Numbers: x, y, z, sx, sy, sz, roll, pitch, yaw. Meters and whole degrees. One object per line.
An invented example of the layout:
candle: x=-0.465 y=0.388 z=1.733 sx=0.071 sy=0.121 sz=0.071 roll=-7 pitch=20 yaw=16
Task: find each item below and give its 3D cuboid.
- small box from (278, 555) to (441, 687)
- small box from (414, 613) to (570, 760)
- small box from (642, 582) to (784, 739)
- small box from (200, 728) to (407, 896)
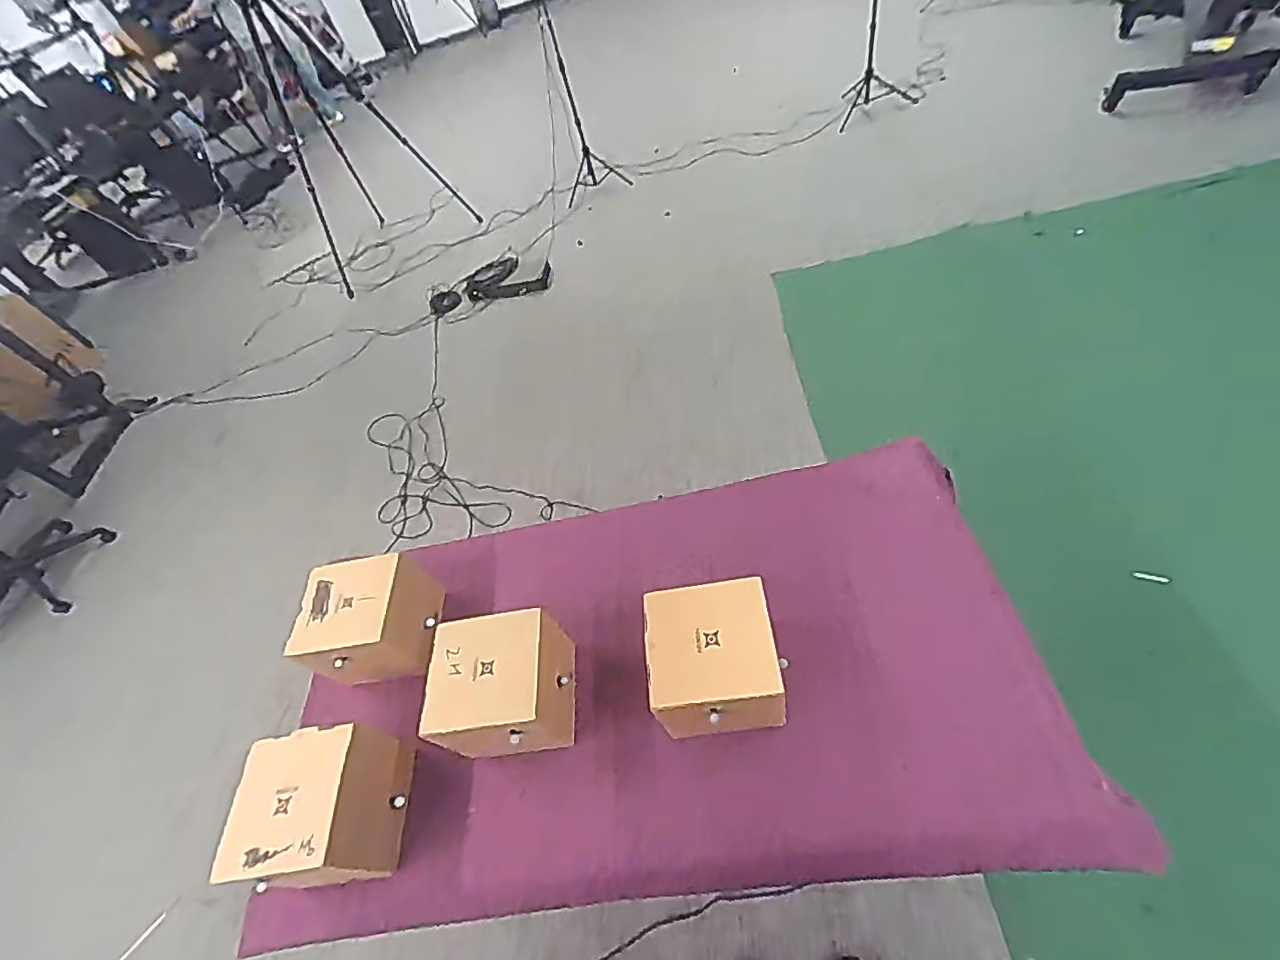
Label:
small box: x=-0.487 y=0.258 z=0.968 sx=0.179 sy=0.176 sz=0.168 roll=-10 pitch=52 yaw=7
small box: x=-0.214 y=0.325 z=0.840 sx=0.179 sy=0.176 sz=0.168 roll=-11 pitch=51 yaw=8
small box: x=0.108 y=0.270 z=0.793 sx=0.179 sy=0.176 sz=0.168 roll=-11 pitch=52 yaw=9
small box: x=-0.467 y=0.486 z=0.787 sx=0.168 sy=0.176 sz=0.179 roll=-13 pitch=50 yaw=7
